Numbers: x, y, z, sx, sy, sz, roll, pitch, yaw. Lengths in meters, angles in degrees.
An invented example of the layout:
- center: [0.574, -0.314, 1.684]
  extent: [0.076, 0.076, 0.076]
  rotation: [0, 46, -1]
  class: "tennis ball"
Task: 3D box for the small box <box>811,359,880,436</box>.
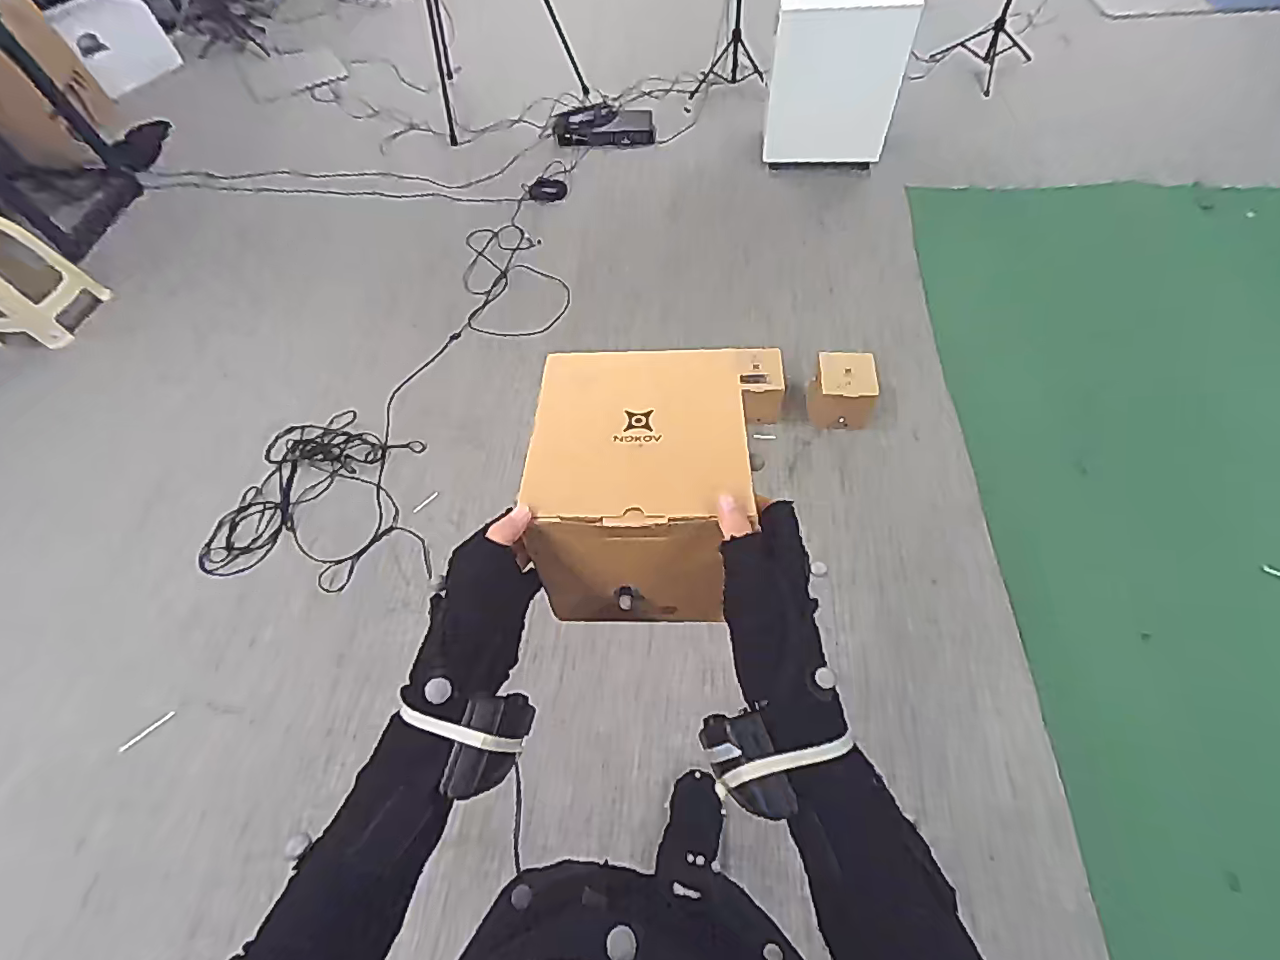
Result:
- center: [0.647, -0.262, 1.723]
  extent: [0.168, 0.176, 0.179]
  rotation: [3, 59, 7]
  class: "small box"
